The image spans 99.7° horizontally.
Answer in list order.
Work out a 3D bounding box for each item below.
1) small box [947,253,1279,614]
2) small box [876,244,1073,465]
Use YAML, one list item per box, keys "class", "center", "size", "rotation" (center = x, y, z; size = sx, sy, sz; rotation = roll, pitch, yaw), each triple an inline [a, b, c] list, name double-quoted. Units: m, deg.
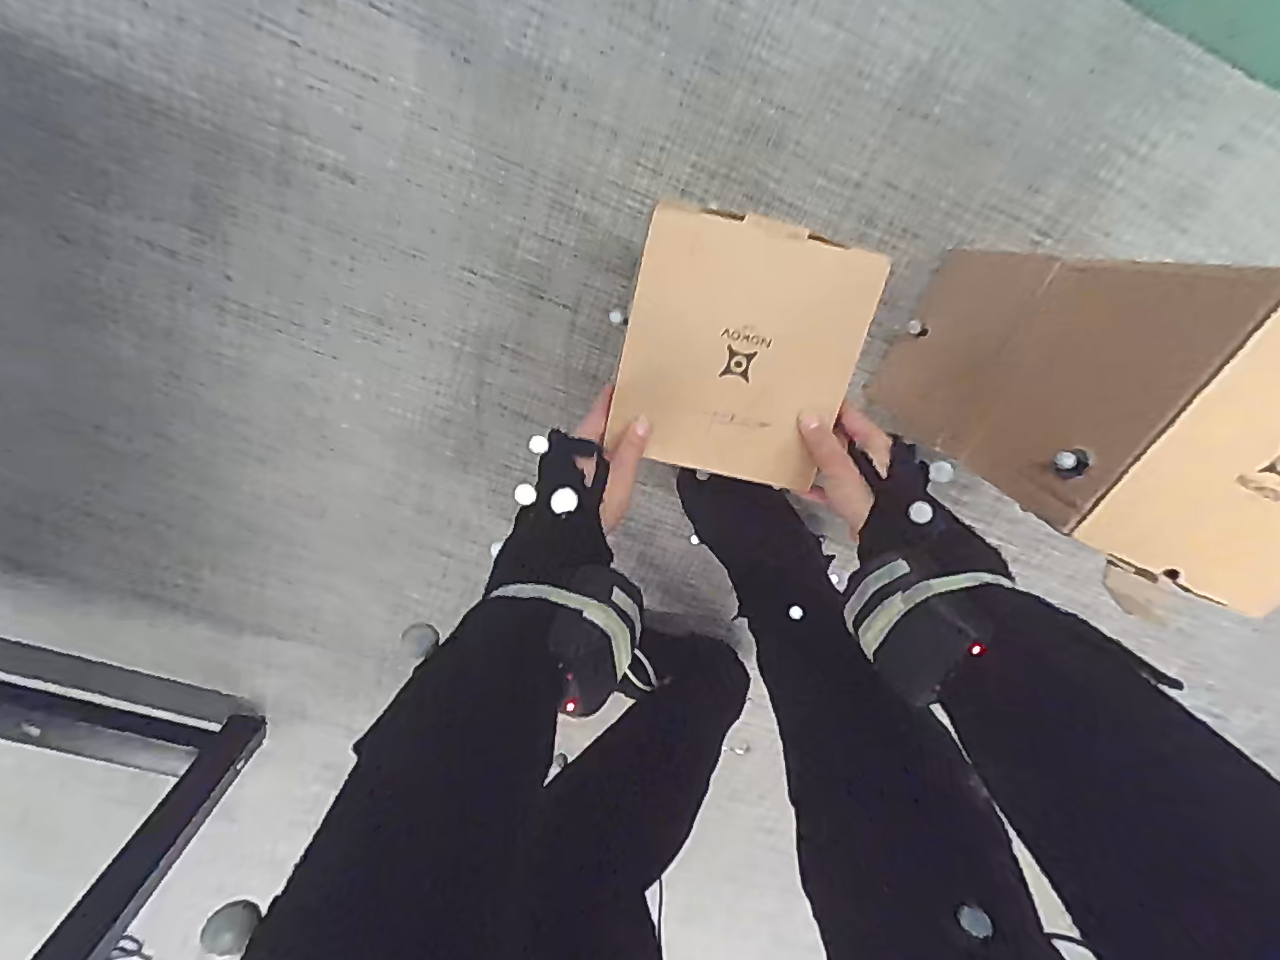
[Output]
- class: "small box"
  center: [0.367, -0.044, 0.384]
  size: [0.168, 0.176, 0.179]
  rotation: [22, 113, -11]
- class: "small box"
  center: [0.363, -0.113, 0.534]
  size: [0.168, 0.176, 0.179]
  rotation: [20, 115, -9]
